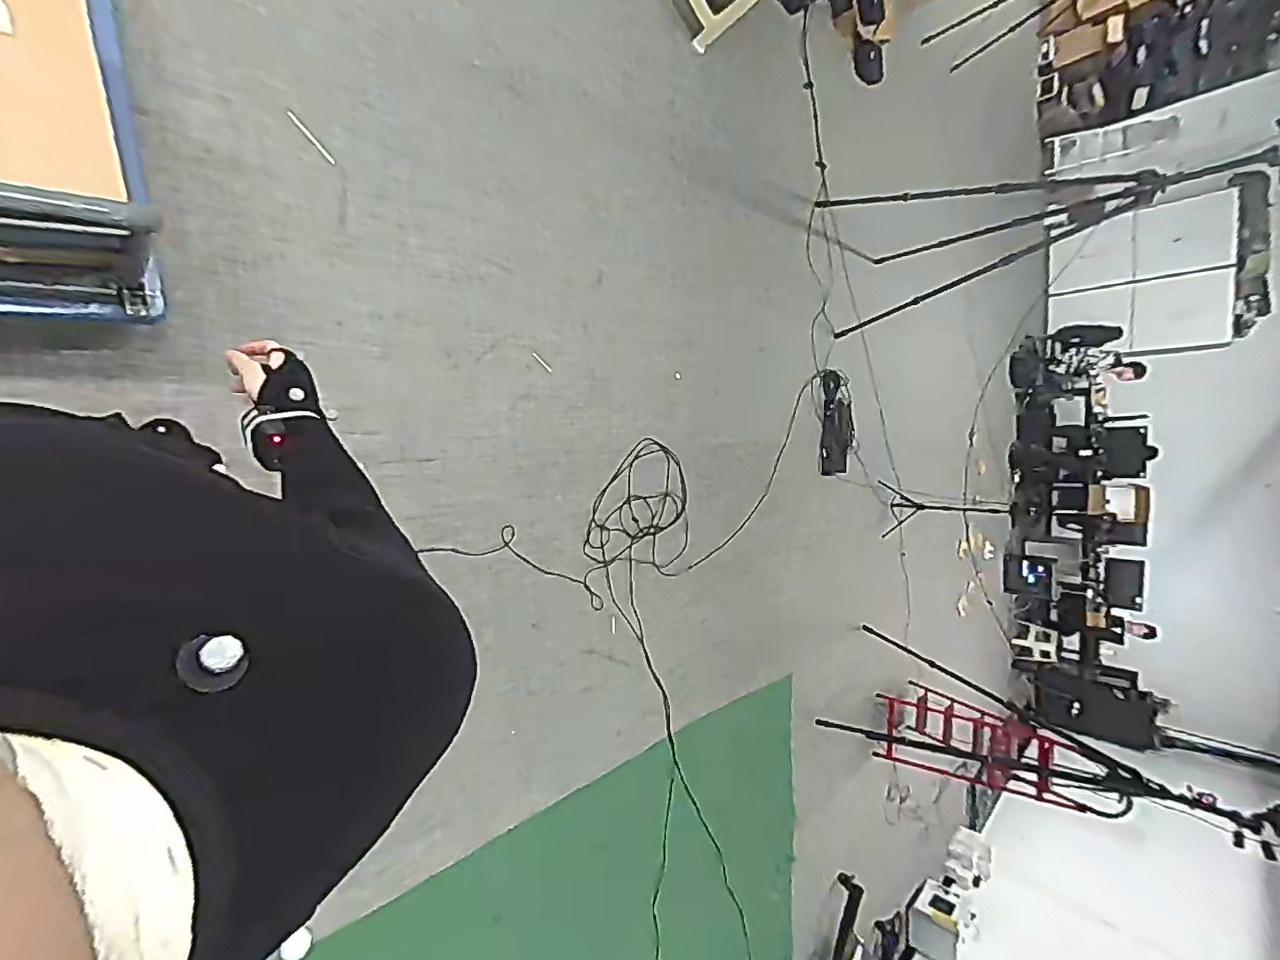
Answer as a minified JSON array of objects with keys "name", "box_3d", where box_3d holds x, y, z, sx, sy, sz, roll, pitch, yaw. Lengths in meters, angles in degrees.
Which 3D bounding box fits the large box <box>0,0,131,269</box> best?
[{"name":"large box","box_3d":[-1.049,-0.579,0.842,0.320,0.320,0.408,-13,100,-43]}]
